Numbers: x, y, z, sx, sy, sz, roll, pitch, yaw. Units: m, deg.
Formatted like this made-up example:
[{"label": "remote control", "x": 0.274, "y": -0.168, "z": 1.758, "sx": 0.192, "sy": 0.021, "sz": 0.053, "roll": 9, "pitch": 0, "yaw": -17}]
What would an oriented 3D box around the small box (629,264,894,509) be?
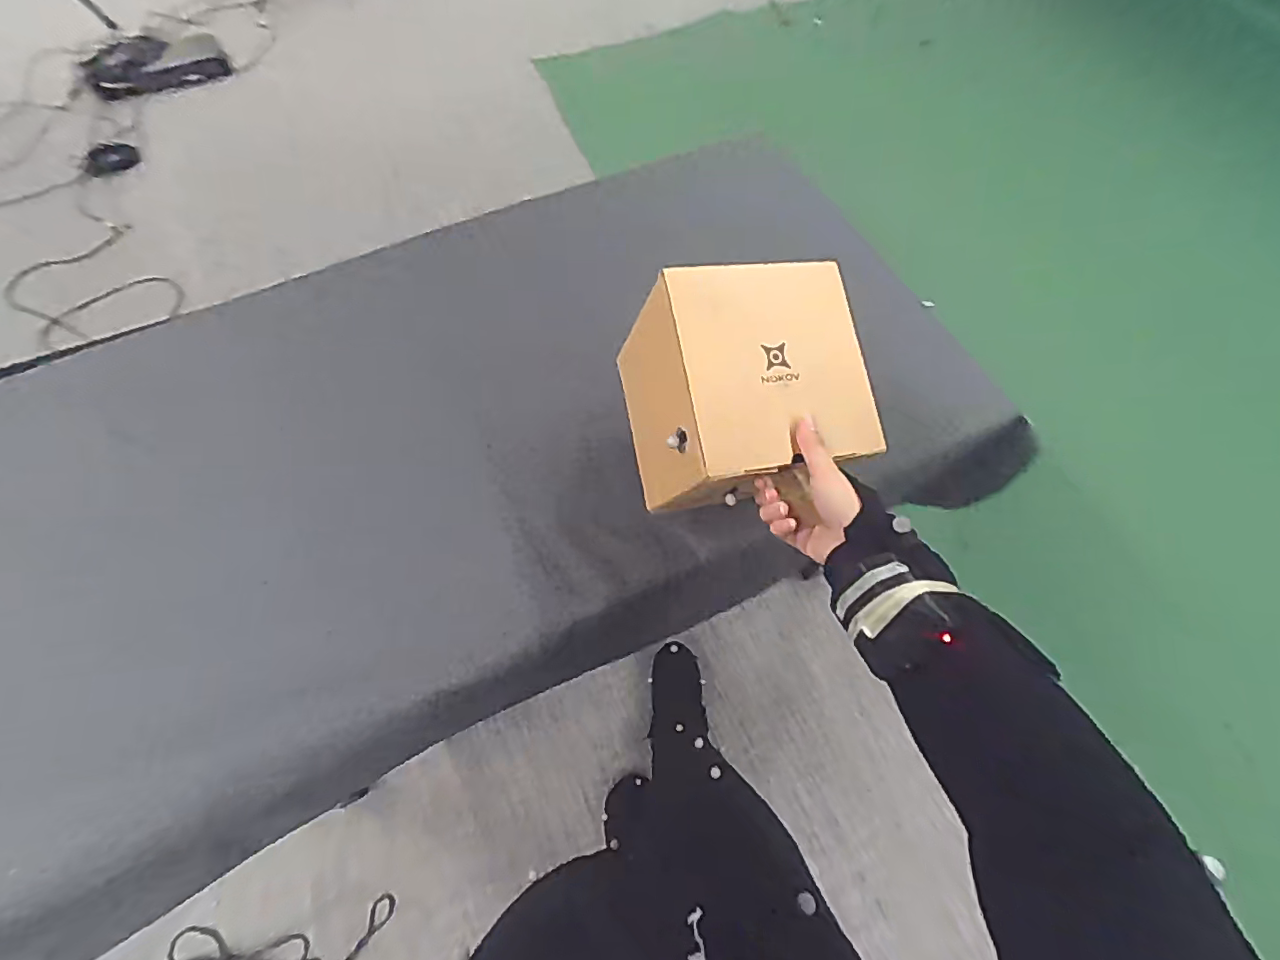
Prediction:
[{"label": "small box", "x": 0.097, "y": -0.079, "z": 0.512, "sx": 0.168, "sy": 0.176, "sz": 0.179, "roll": -8, "pitch": 81, "yaw": -17}]
